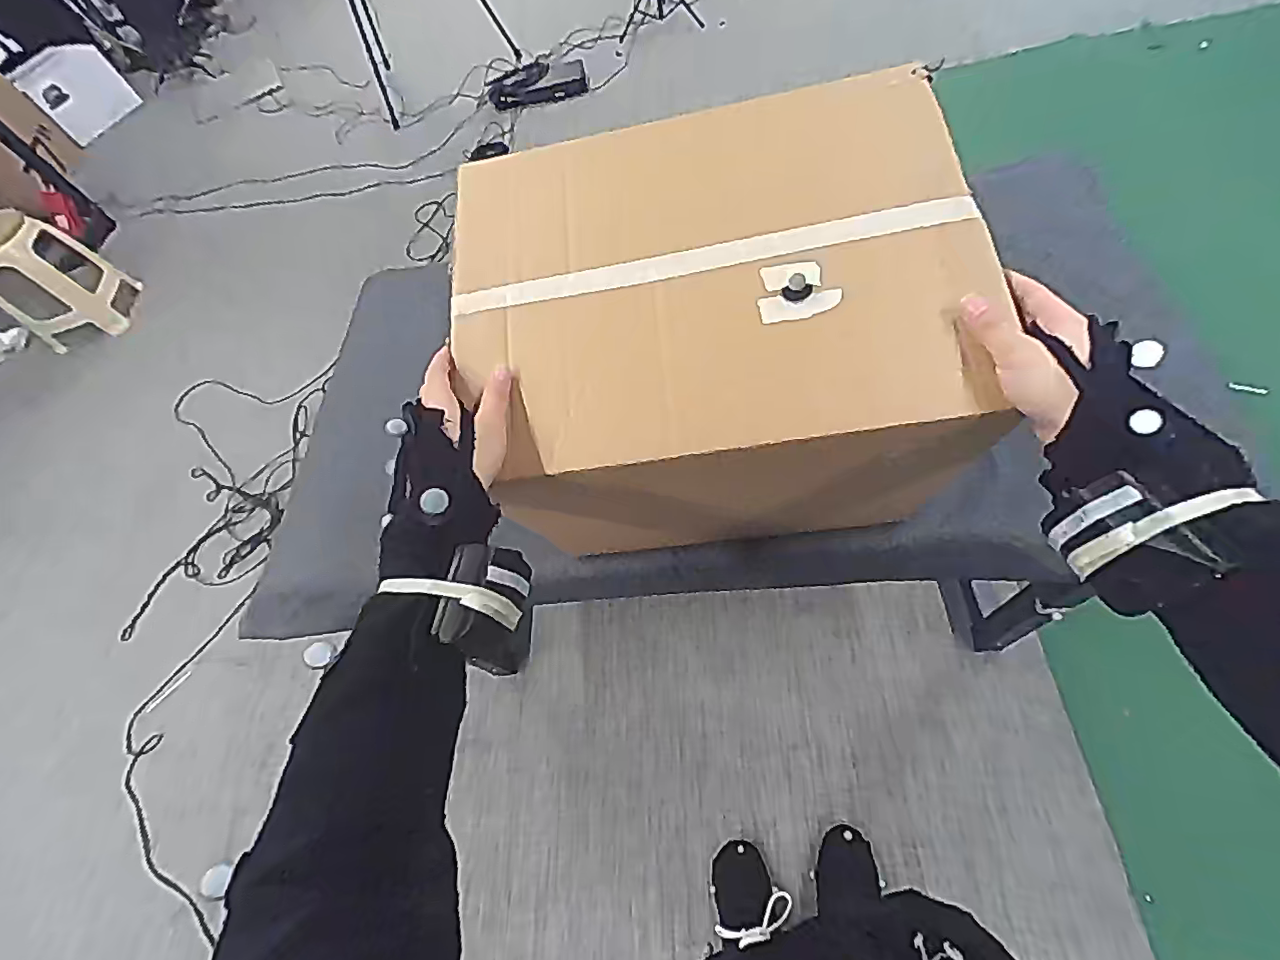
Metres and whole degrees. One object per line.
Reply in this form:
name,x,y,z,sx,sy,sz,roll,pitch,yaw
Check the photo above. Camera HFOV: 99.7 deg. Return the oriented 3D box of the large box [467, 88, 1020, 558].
large box,0.071,-0.119,0.575,0.408,0.320,0.320,-8,70,7
